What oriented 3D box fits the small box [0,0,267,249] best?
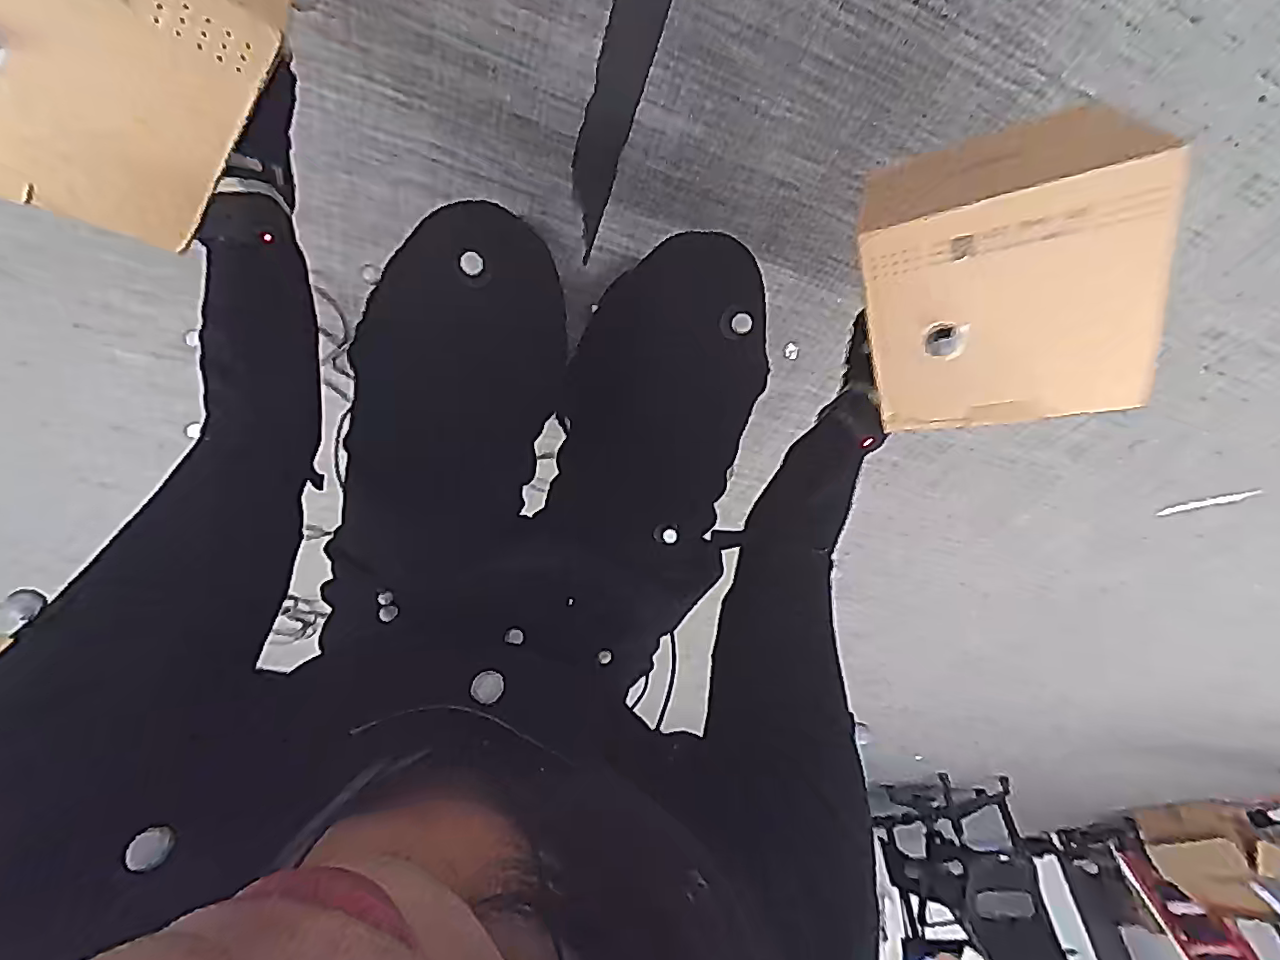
[{"bbox_3d":[-0.252,-0.236,0.204,0.176,0.179,0.168,-18,158,37],"label":"small box"}]
